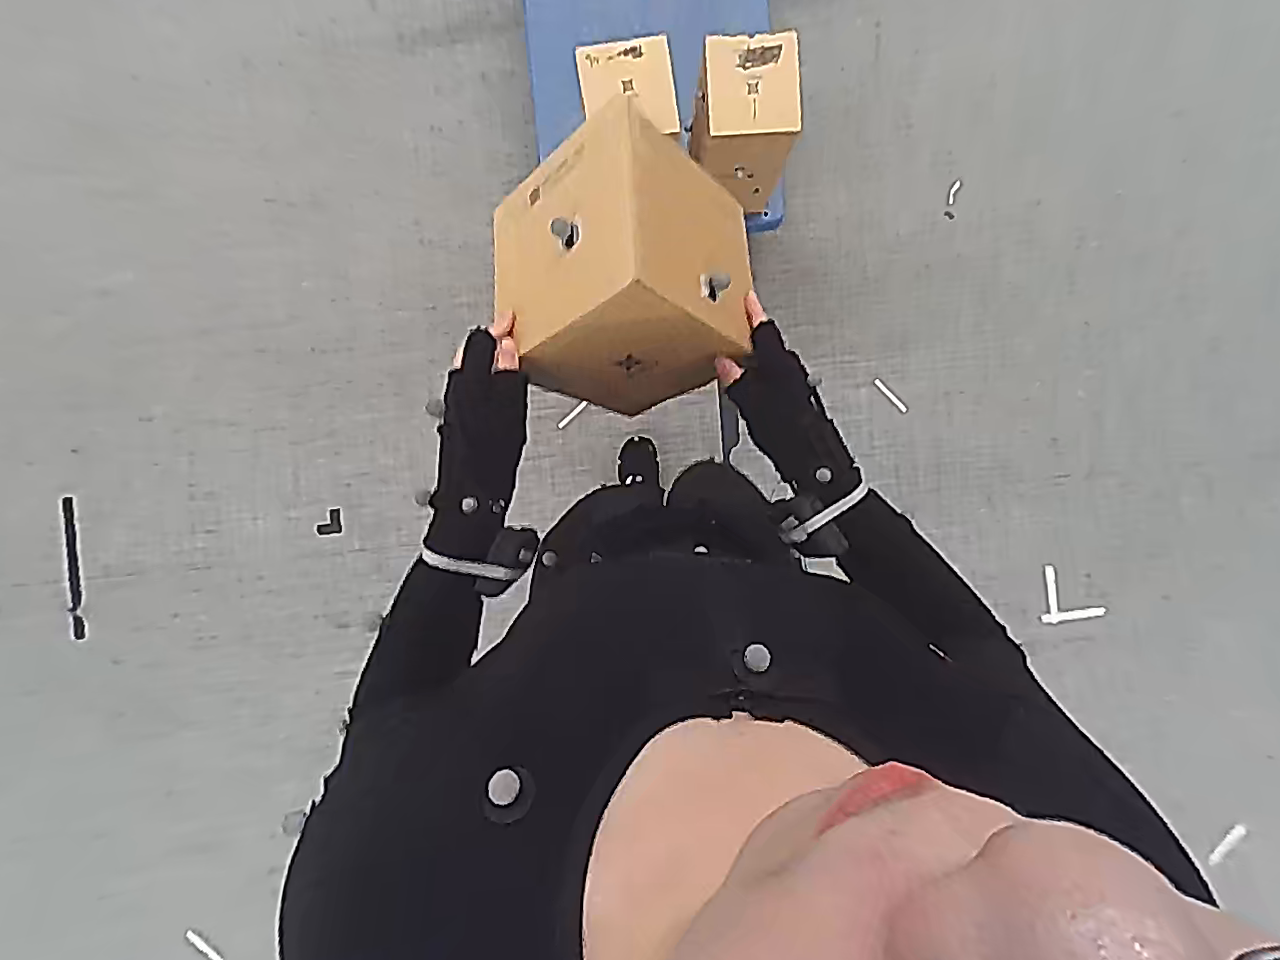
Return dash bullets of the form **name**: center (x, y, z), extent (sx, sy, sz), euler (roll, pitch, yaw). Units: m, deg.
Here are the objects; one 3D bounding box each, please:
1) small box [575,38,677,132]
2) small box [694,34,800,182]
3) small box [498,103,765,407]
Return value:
- **small box**: center (-0.024, -0.687, 1.035), extent (0.168, 0.176, 0.179), euler (-8, 93, -1)
- **small box**: center (0.197, -0.701, 1.036), extent (0.168, 0.176, 0.179), euler (-3, 93, -1)
- **small box**: center (-0.011, -0.188, 0.487), extent (0.168, 0.179, 0.176), euler (-17, 71, 39)
